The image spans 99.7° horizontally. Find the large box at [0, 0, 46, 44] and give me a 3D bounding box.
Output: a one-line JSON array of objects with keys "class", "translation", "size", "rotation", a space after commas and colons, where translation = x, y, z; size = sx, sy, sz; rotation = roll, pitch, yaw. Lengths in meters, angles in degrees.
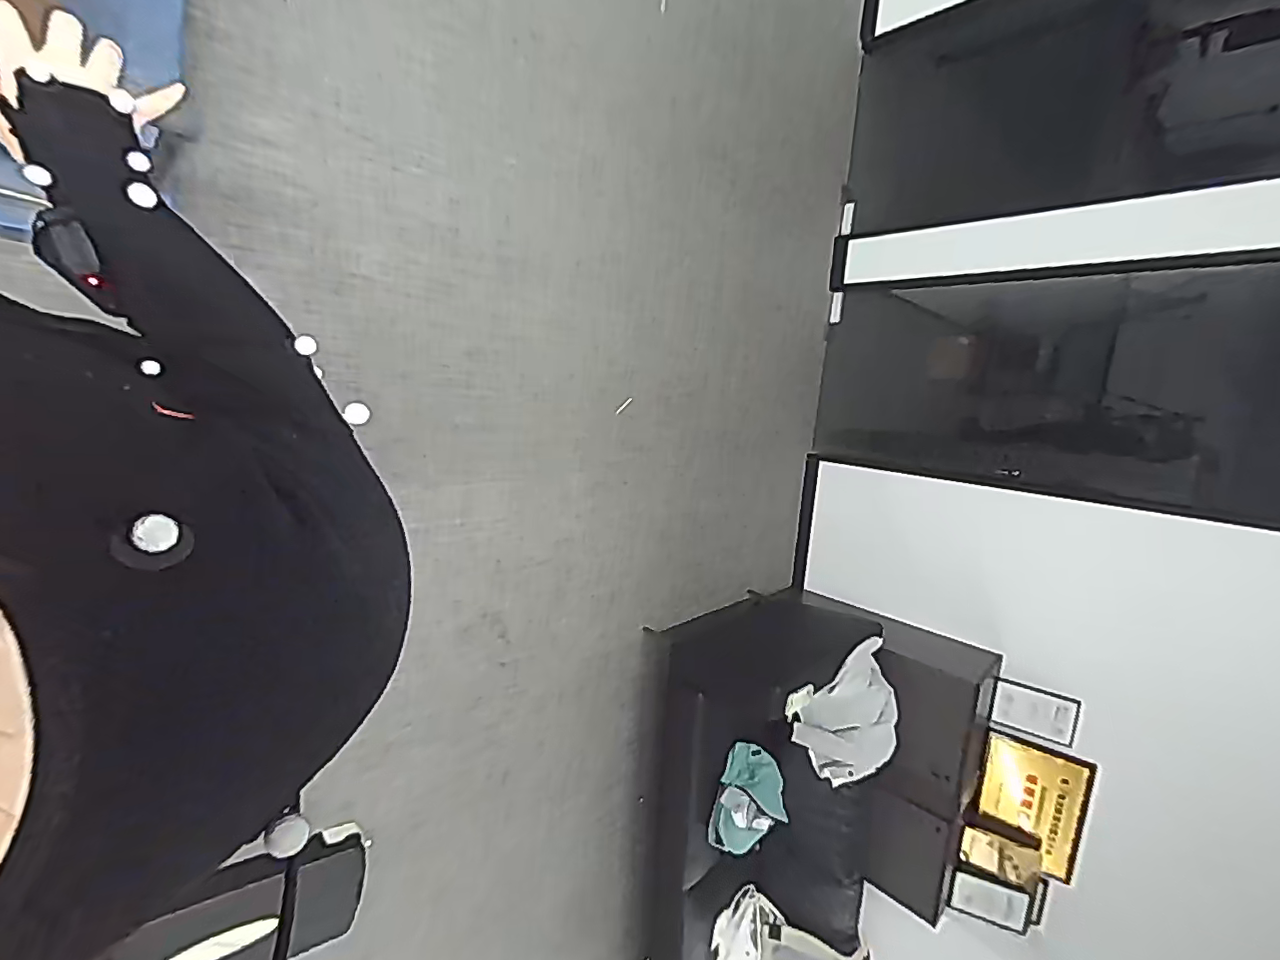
[{"class": "large box", "translation": [-0.952, -0.820, 0.602], "size": [0.408, 0.320, 0.320], "rotation": [6, 96, -48]}]
